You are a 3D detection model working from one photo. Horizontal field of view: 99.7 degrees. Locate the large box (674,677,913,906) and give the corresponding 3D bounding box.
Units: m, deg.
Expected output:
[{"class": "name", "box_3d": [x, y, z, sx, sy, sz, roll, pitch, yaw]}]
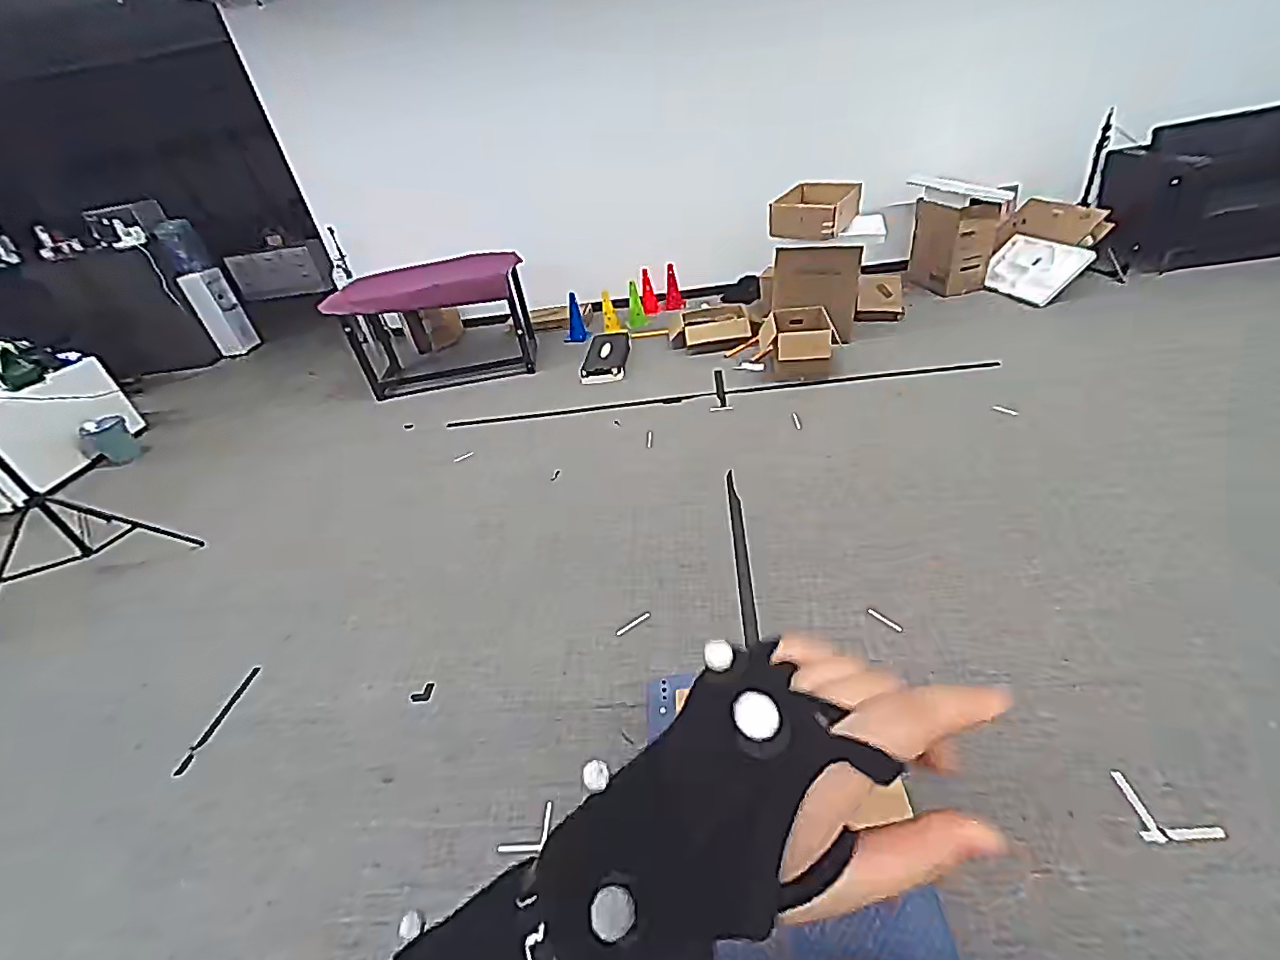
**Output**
[{"class": "large box", "box_3d": [0.297, 0.657, 1.140, 0.408, 0.320, 0.320, -7, 34, 6]}]
